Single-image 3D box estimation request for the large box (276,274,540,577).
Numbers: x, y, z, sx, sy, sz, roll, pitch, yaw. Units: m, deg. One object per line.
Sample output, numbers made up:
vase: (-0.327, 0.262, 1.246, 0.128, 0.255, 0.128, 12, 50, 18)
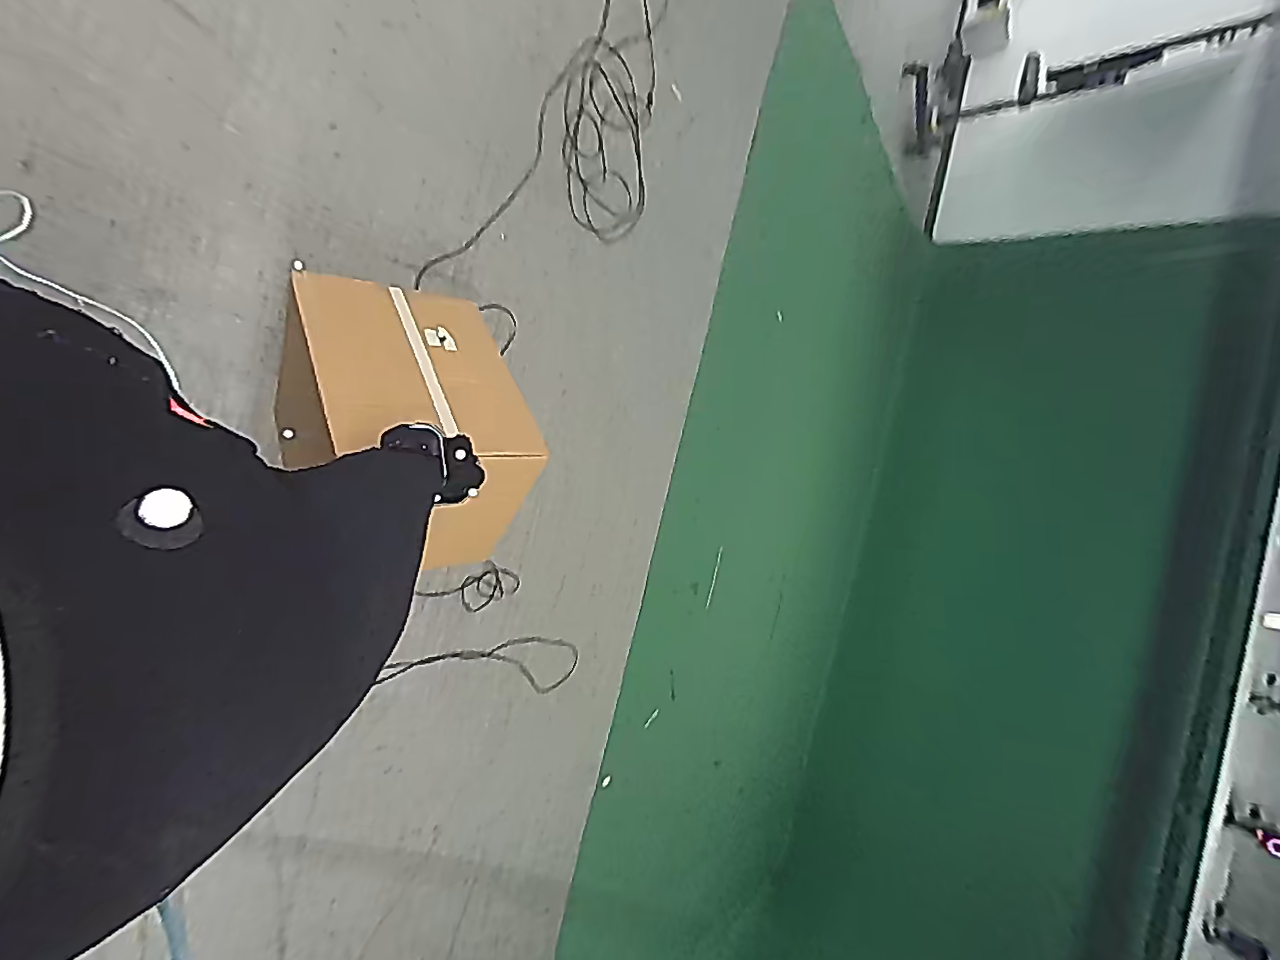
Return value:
large box: (-0.436, -0.092, 0.971, 0.320, 0.408, 0.320, -2, 141, -42)
